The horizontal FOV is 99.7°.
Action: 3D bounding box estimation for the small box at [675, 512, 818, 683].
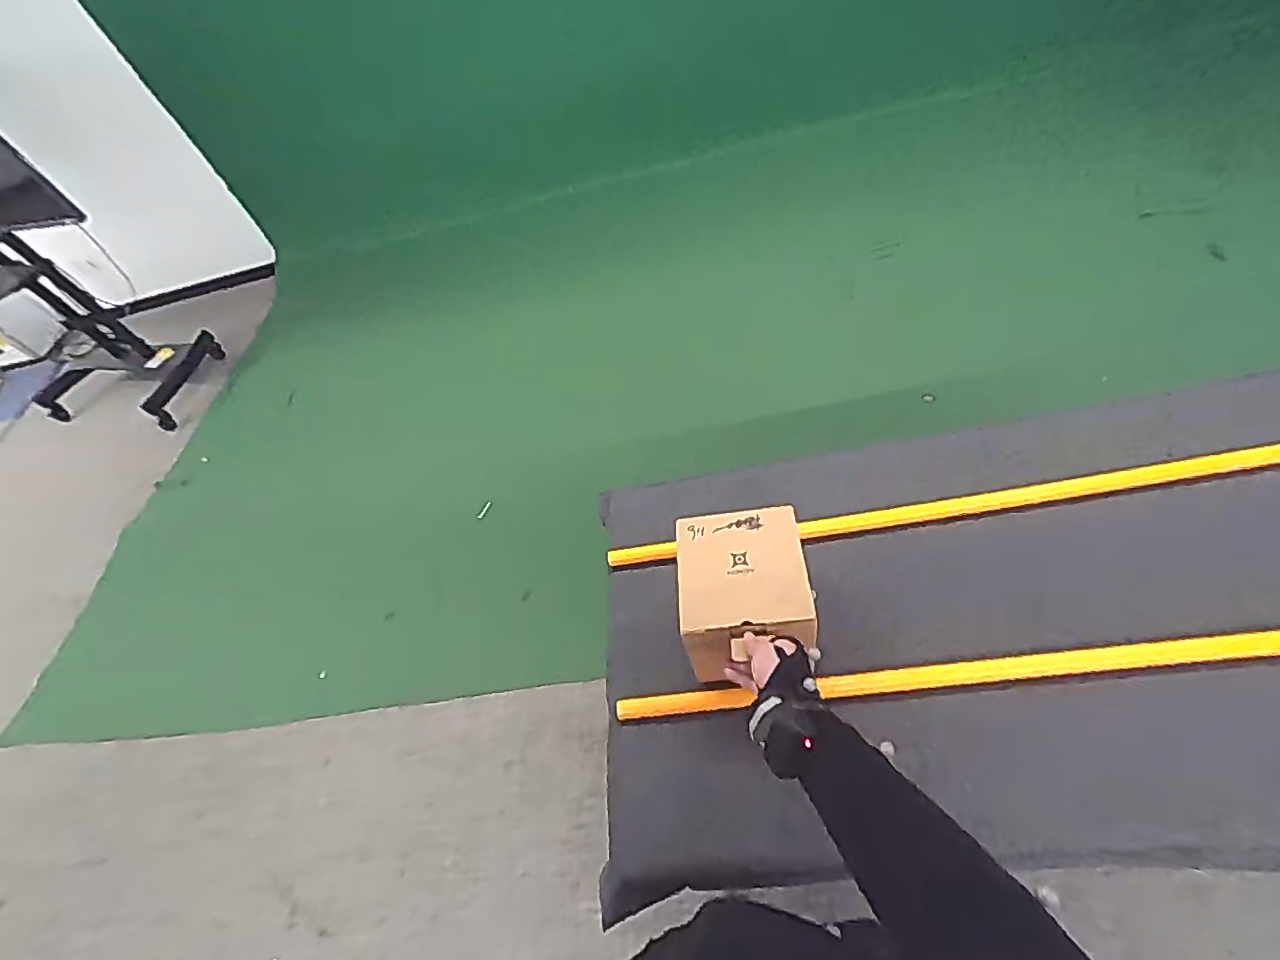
[{"bbox_3d":[0.151,0.174,0.768,0.168,0.176,0.179,-11,47,9],"label":"small box"}]
